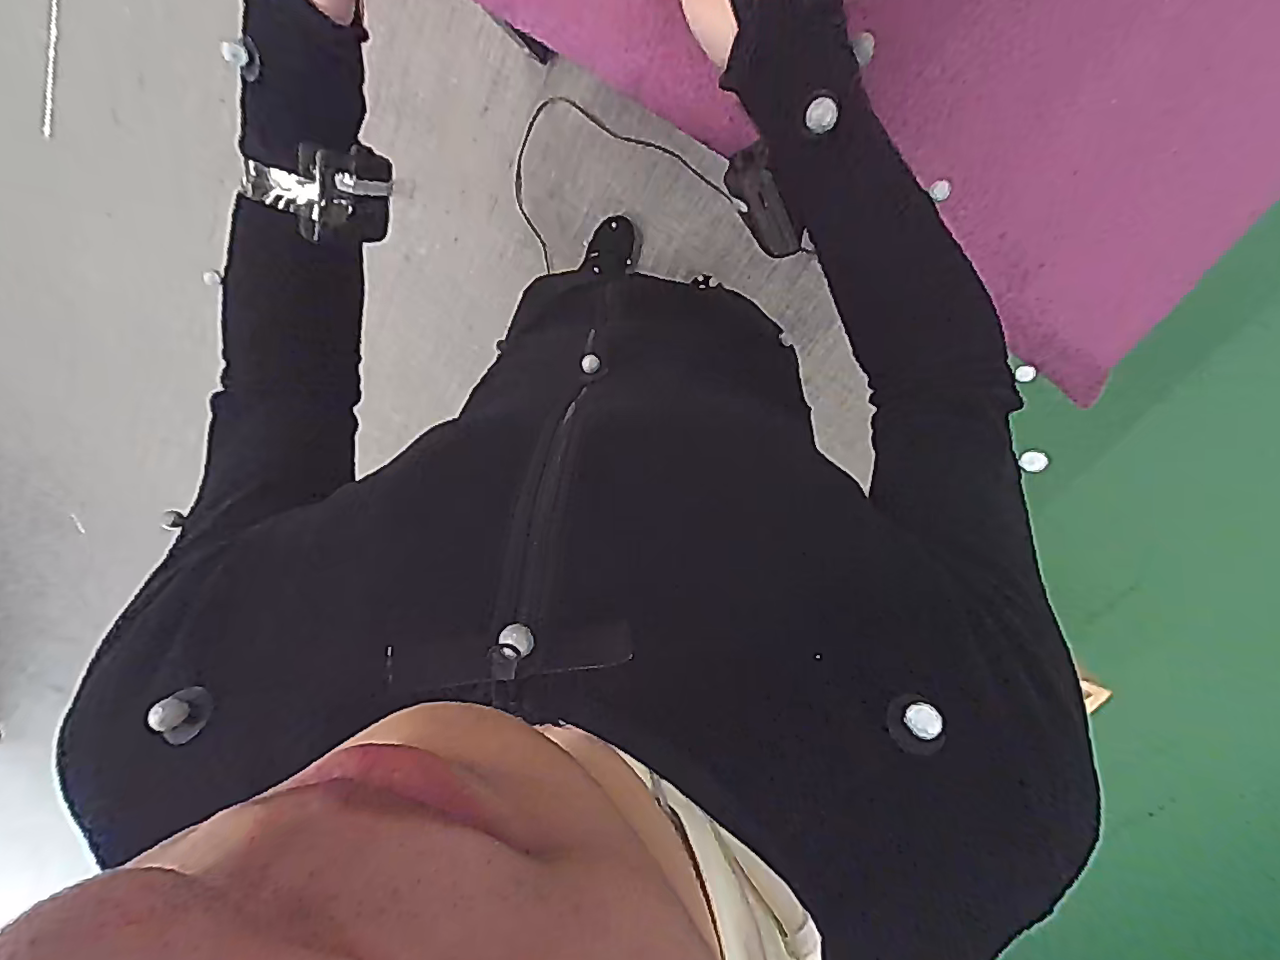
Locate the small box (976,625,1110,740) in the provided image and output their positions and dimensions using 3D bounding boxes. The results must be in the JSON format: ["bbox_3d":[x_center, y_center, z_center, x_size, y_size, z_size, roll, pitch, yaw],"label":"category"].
[{"bbox_3d":[0.988,0.496,1.347,0.168,0.176,0.179,27,114,-4],"label":"small box"}]
